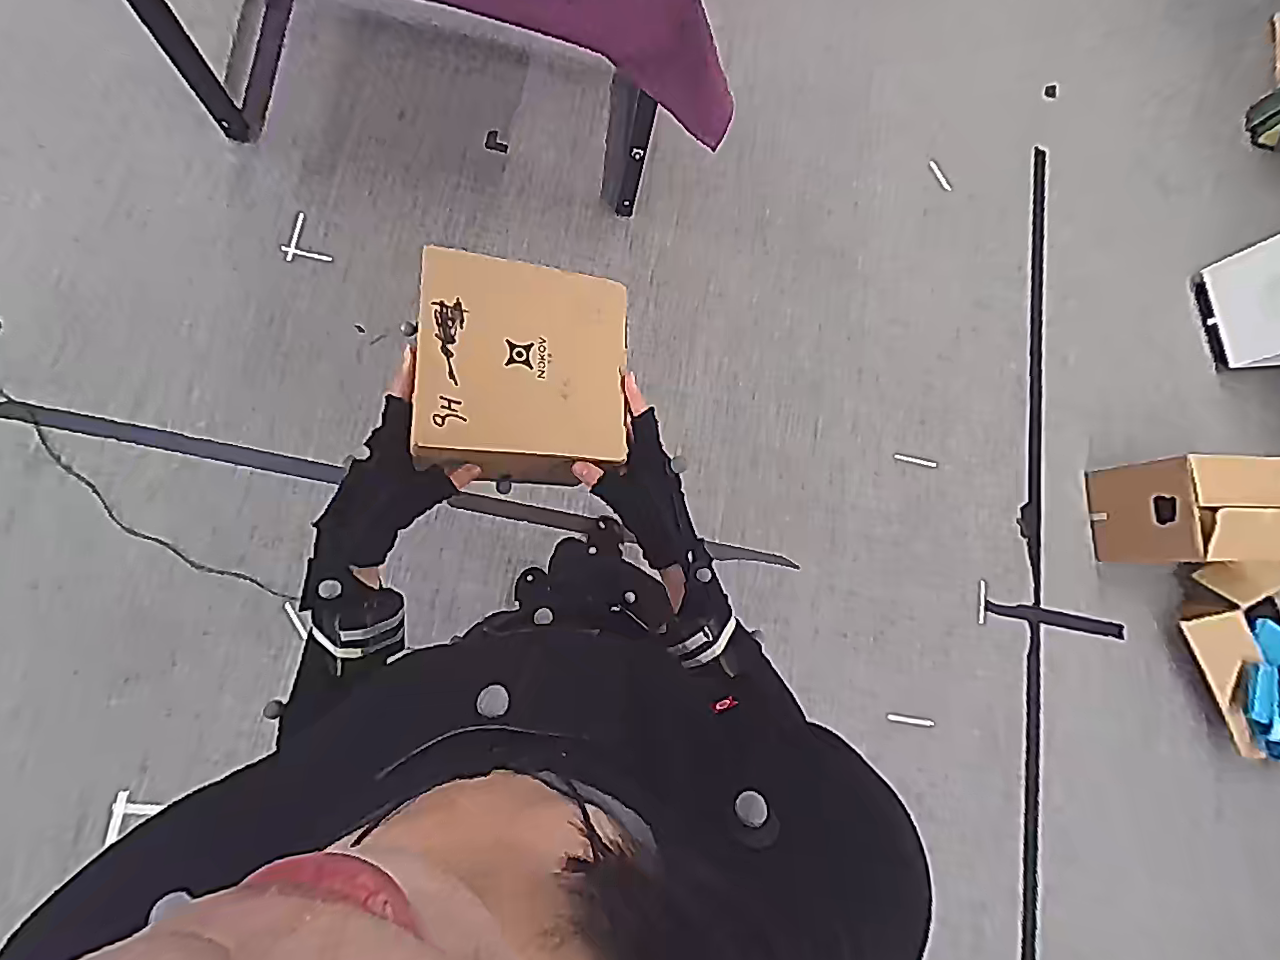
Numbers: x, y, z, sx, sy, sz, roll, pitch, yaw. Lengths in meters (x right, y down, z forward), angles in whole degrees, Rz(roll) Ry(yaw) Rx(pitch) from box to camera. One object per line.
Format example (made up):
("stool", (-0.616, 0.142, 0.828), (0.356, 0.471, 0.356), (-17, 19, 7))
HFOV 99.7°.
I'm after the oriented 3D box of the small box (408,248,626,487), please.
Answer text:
("small box", (-0.125, -0.089, 0.525), (0.179, 0.176, 0.168), (4, 79, -22))
